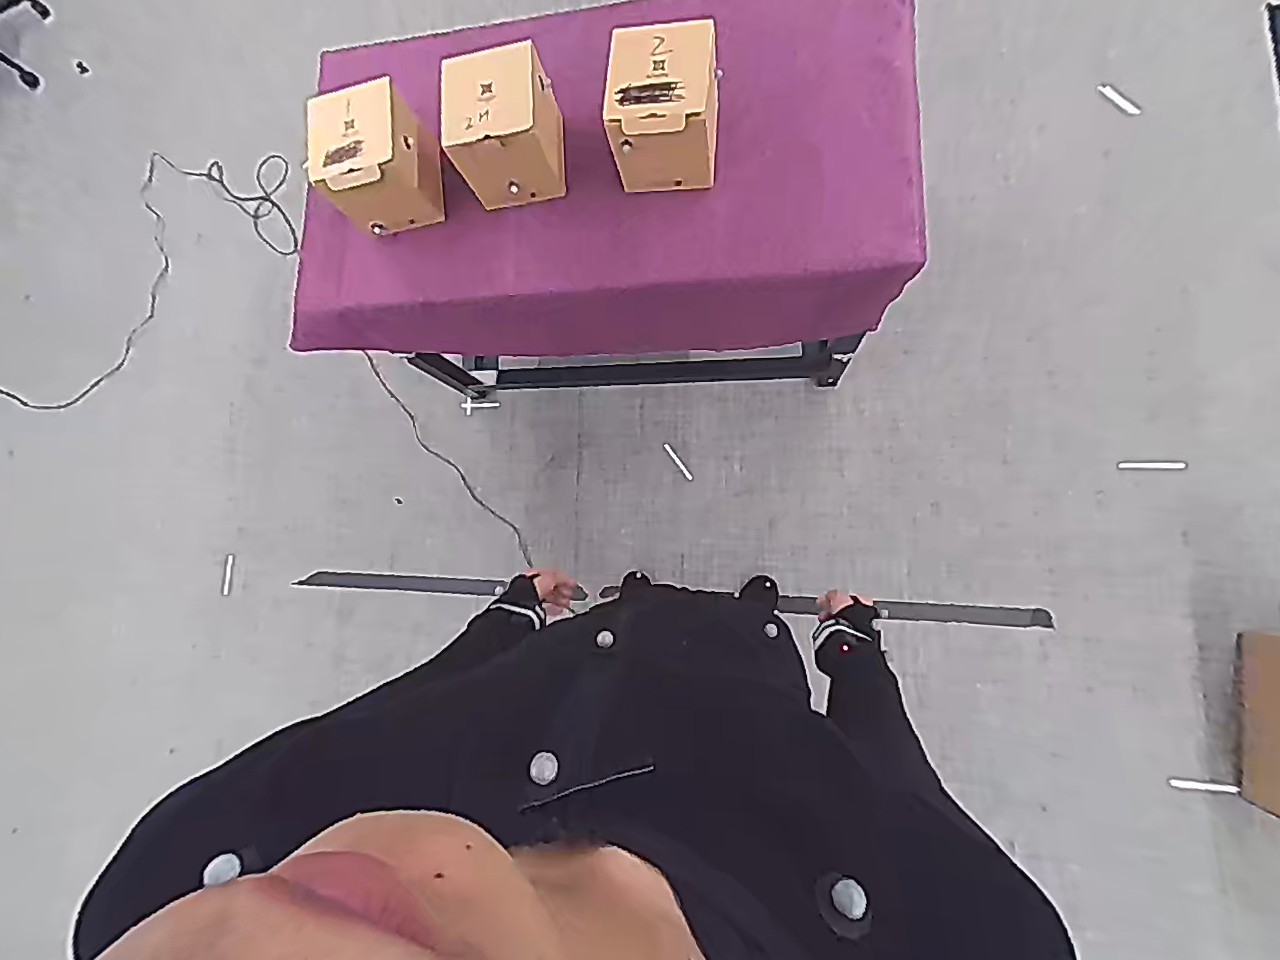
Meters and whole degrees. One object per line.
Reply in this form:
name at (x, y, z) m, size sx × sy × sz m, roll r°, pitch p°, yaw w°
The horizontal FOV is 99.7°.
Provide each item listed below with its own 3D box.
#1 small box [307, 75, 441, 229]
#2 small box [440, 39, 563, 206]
small box at (-0.496, -0.604, 1.026) m, size 0.168 × 0.176 × 0.179 m, roll -9°, pitch 80°, yaw 8°
small box at (-0.244, -0.639, 0.985) m, size 0.168 × 0.176 × 0.179 m, roll -5°, pitch 82°, yaw 10°
